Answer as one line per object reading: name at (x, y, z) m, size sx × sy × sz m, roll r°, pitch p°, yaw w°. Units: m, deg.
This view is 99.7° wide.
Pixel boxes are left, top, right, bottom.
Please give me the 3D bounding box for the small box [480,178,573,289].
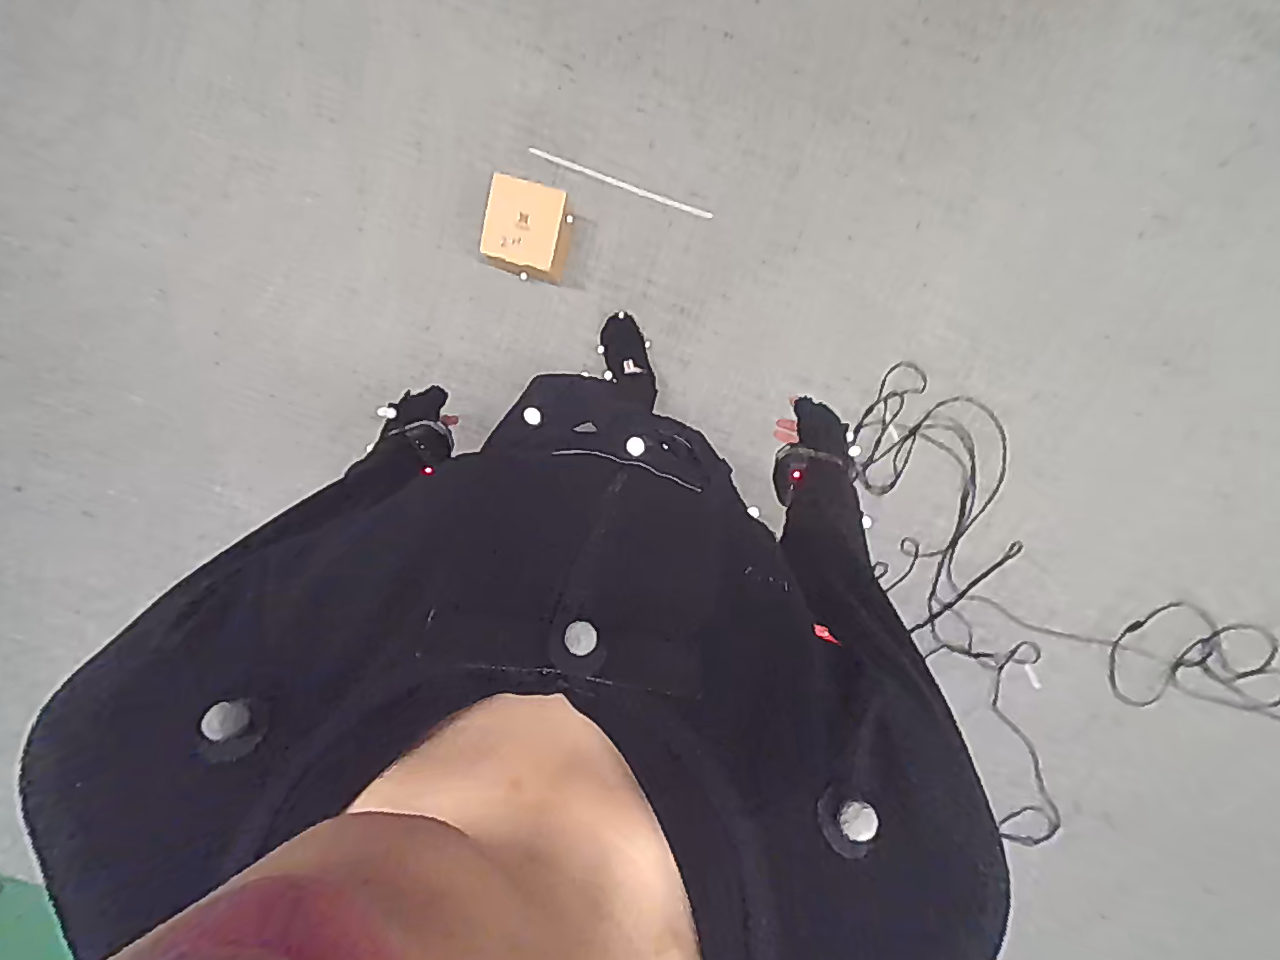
small box at (-0.260, -0.571, 1.276) m, size 0.168 × 0.176 × 0.179 m, roll 15°, pitch 99°, yaw -2°
